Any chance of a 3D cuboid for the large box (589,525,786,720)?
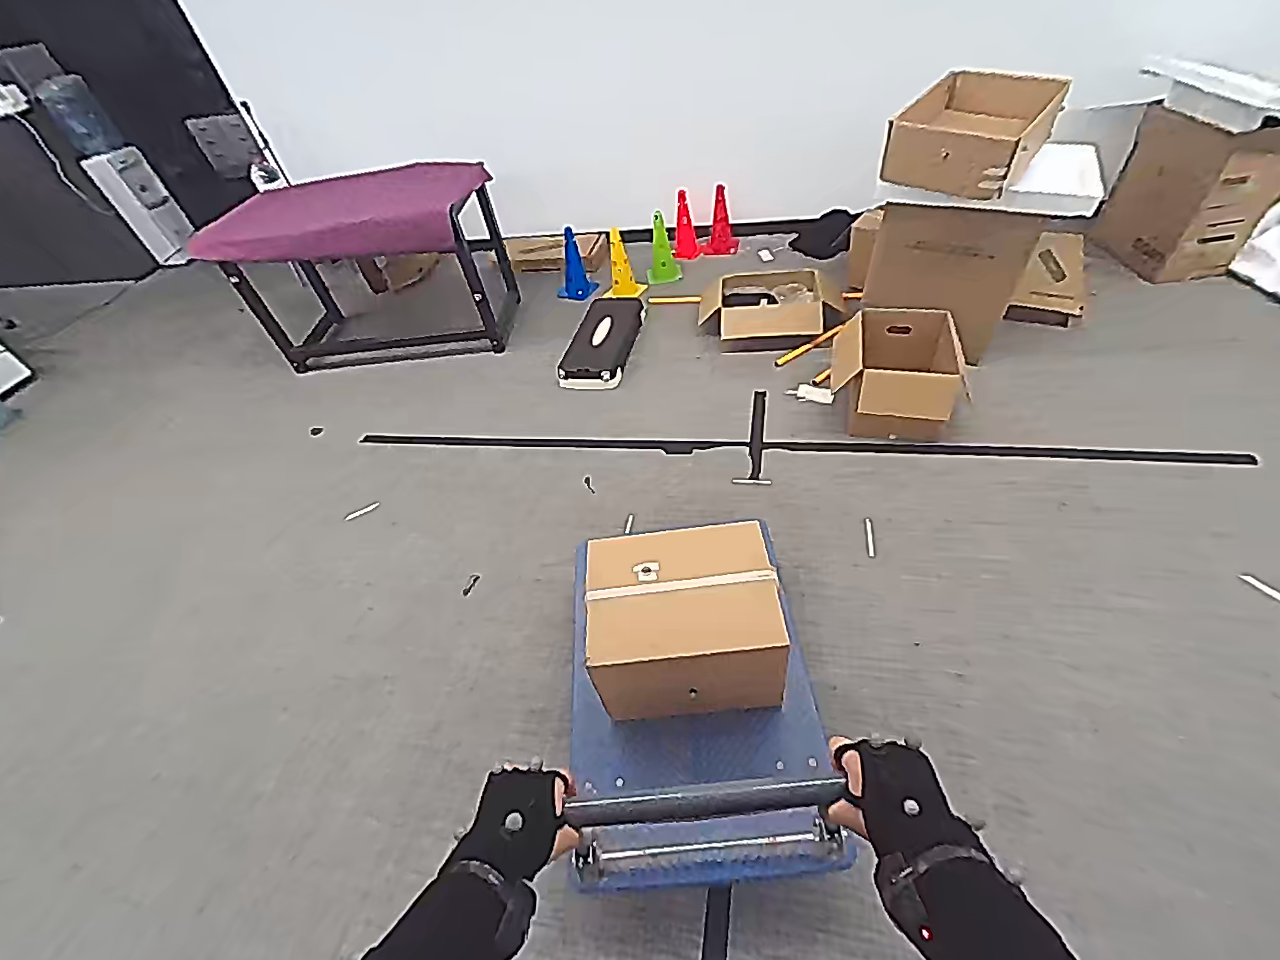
[{"bbox_3d":[0.107,0.344,1.285,0.408,0.320,0.320,-8,45,4],"label":"large box"}]
